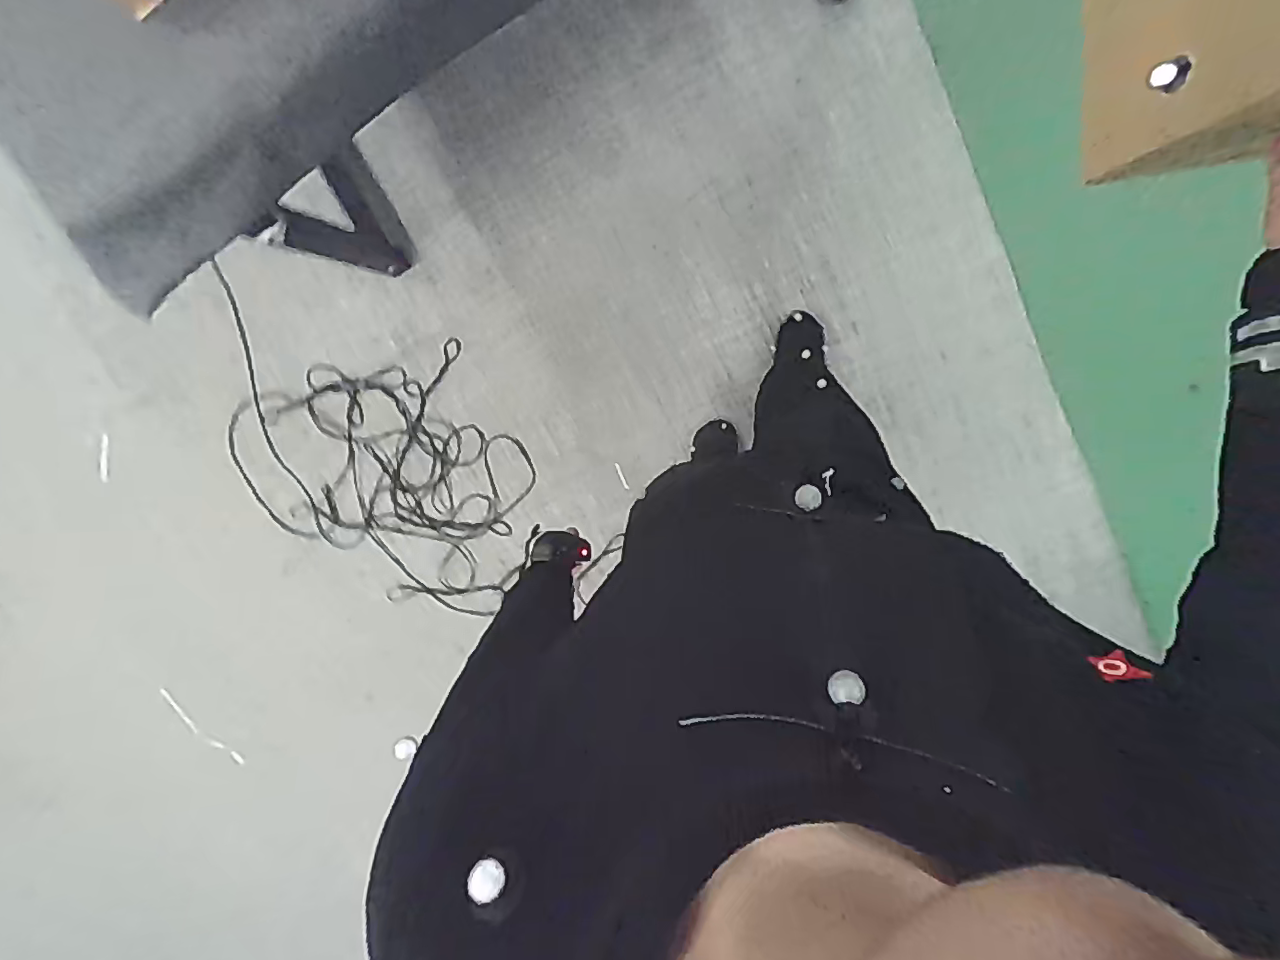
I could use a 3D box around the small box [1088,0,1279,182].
[{"bbox_3d":[0.443,-0.321,0.359,0.168,0.176,0.179,-7,98,3],"label":"small box"}]
